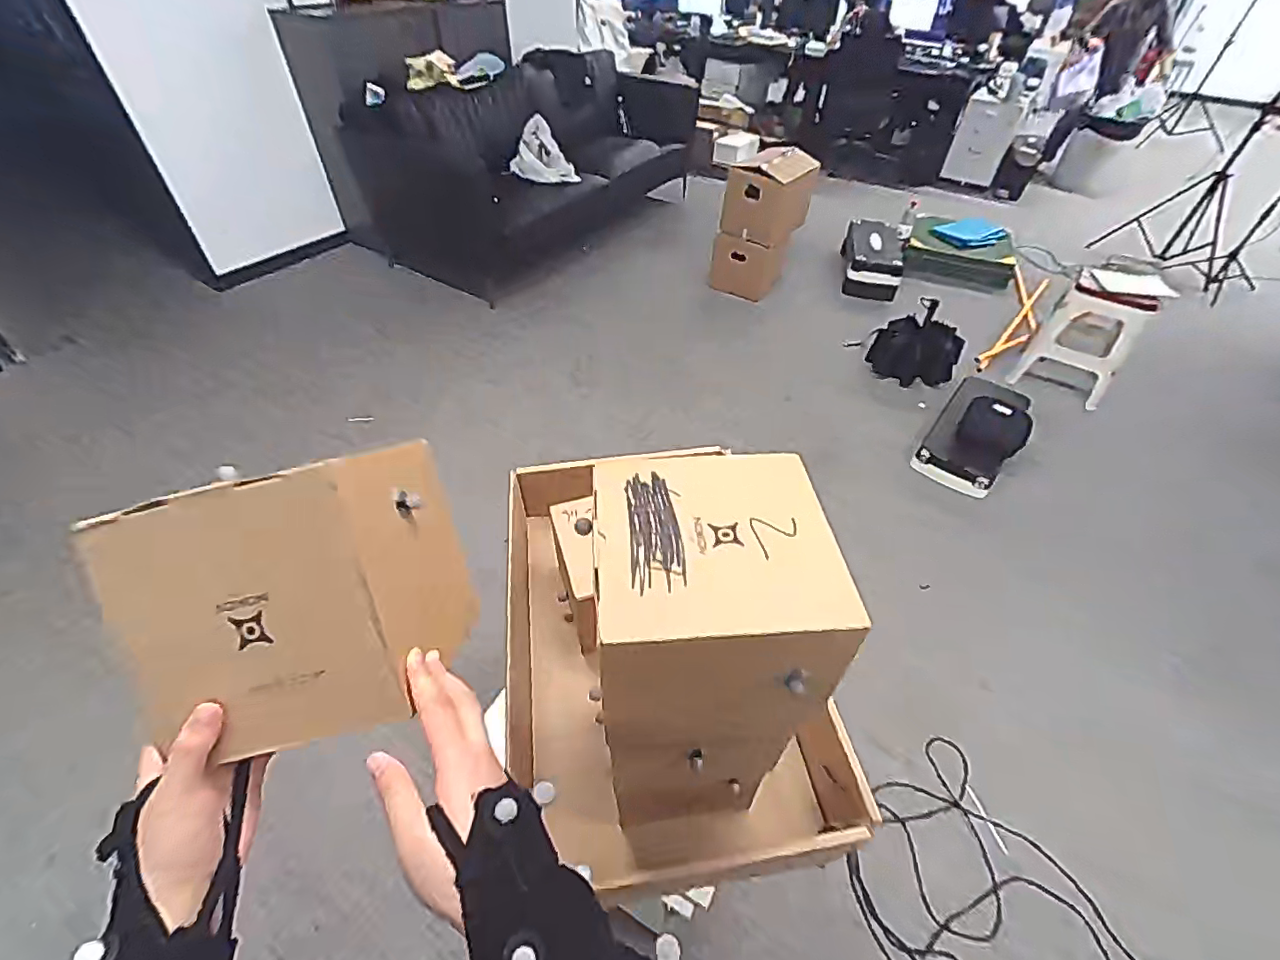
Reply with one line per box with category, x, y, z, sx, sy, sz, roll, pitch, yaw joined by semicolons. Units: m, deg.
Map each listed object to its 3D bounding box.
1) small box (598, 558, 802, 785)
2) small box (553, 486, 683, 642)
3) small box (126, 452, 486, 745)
small box;0.049;0.206;0.582;0.179;0.176;0.168;-6;44;-5
small box;-0.037;0.142;0.873;0.168;0.176;0.179;-12;49;-13
small box;-0.244;0.076;0.445;0.168;0.179;0.176;-12;7;1
